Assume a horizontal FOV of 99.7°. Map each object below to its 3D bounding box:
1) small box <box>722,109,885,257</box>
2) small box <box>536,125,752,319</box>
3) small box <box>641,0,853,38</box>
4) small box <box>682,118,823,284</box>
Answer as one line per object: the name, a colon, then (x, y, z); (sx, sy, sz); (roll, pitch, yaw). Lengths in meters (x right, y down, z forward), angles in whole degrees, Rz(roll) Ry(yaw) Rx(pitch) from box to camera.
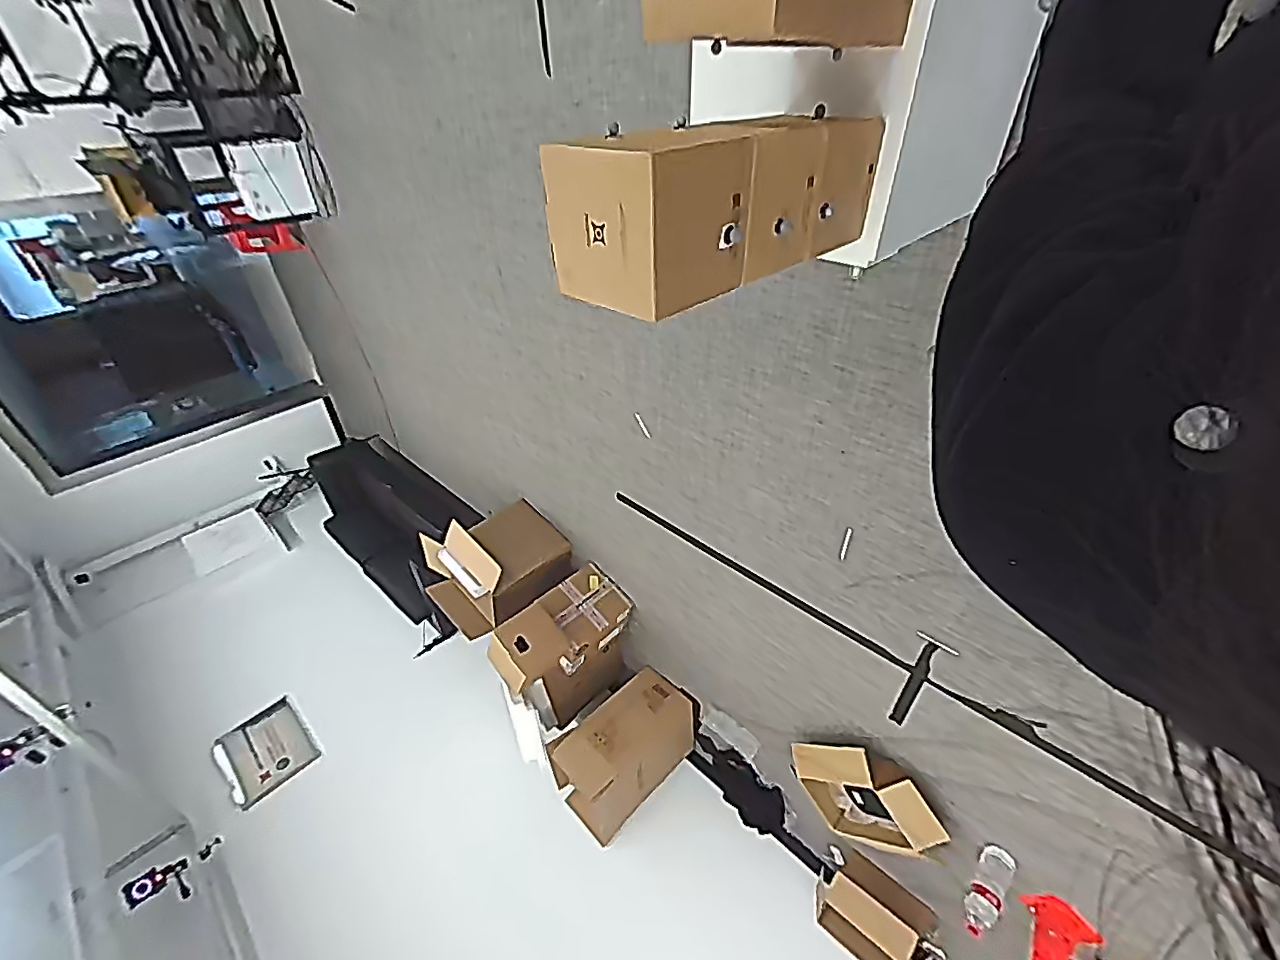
small box: (0.233, -0.455, 0.817); (0.179, 0.176, 0.168); (31, 139, 35)
small box: (0.006, -0.310, 0.635); (0.179, 0.176, 0.168); (28, 138, 35)
small box: (0.120, -0.573, 0.568); (0.179, 0.176, 0.168); (30, 139, 32)
small box: (0.121, -0.381, 0.726); (0.179, 0.176, 0.168); (29, 137, 35)
